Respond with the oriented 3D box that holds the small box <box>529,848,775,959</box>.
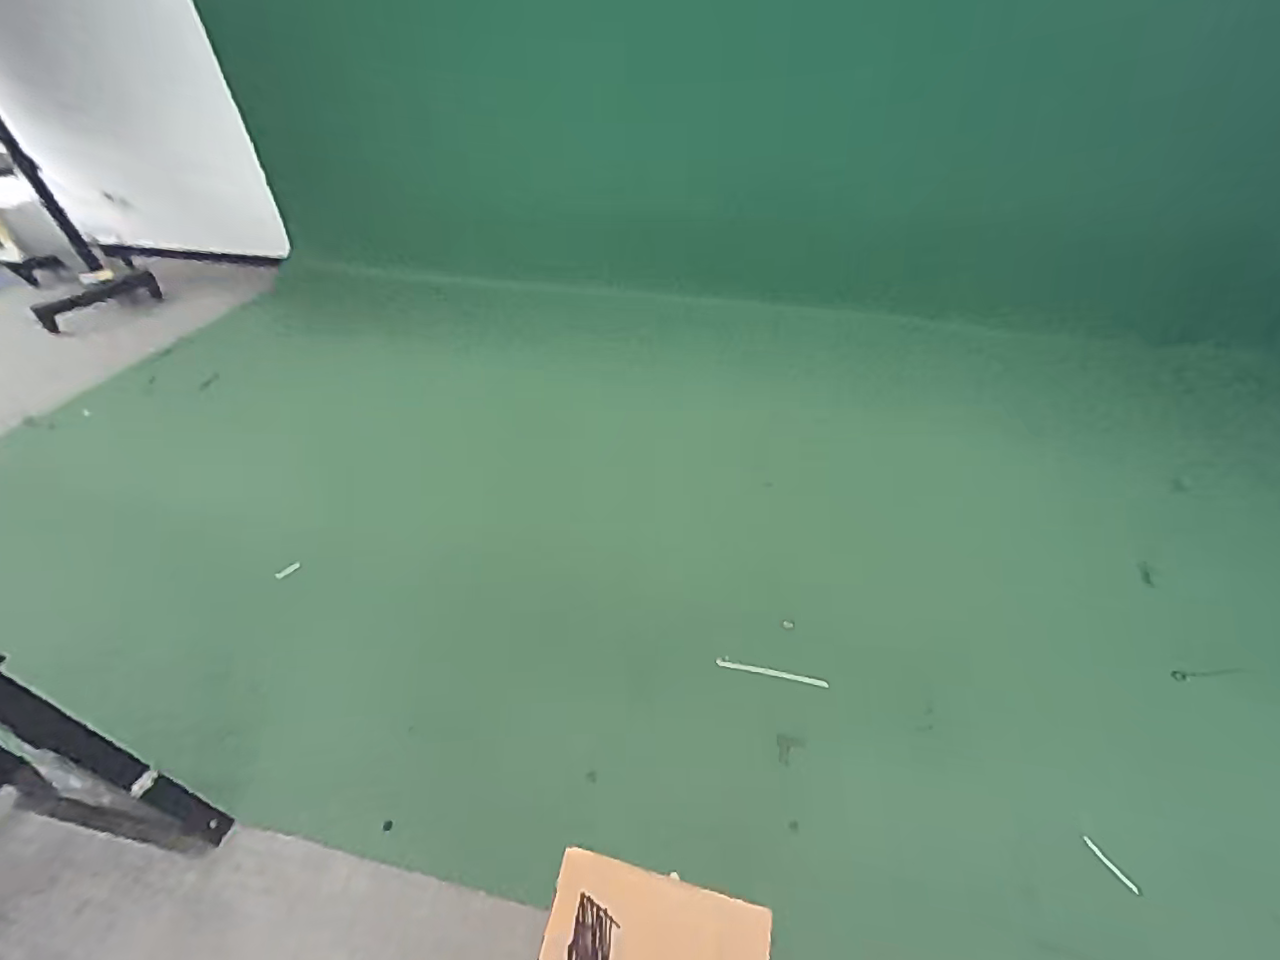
[{"bbox_3d":[0.000,0.429,0.432,0.179,0.176,0.168,11,47,9],"label":"small box"}]
